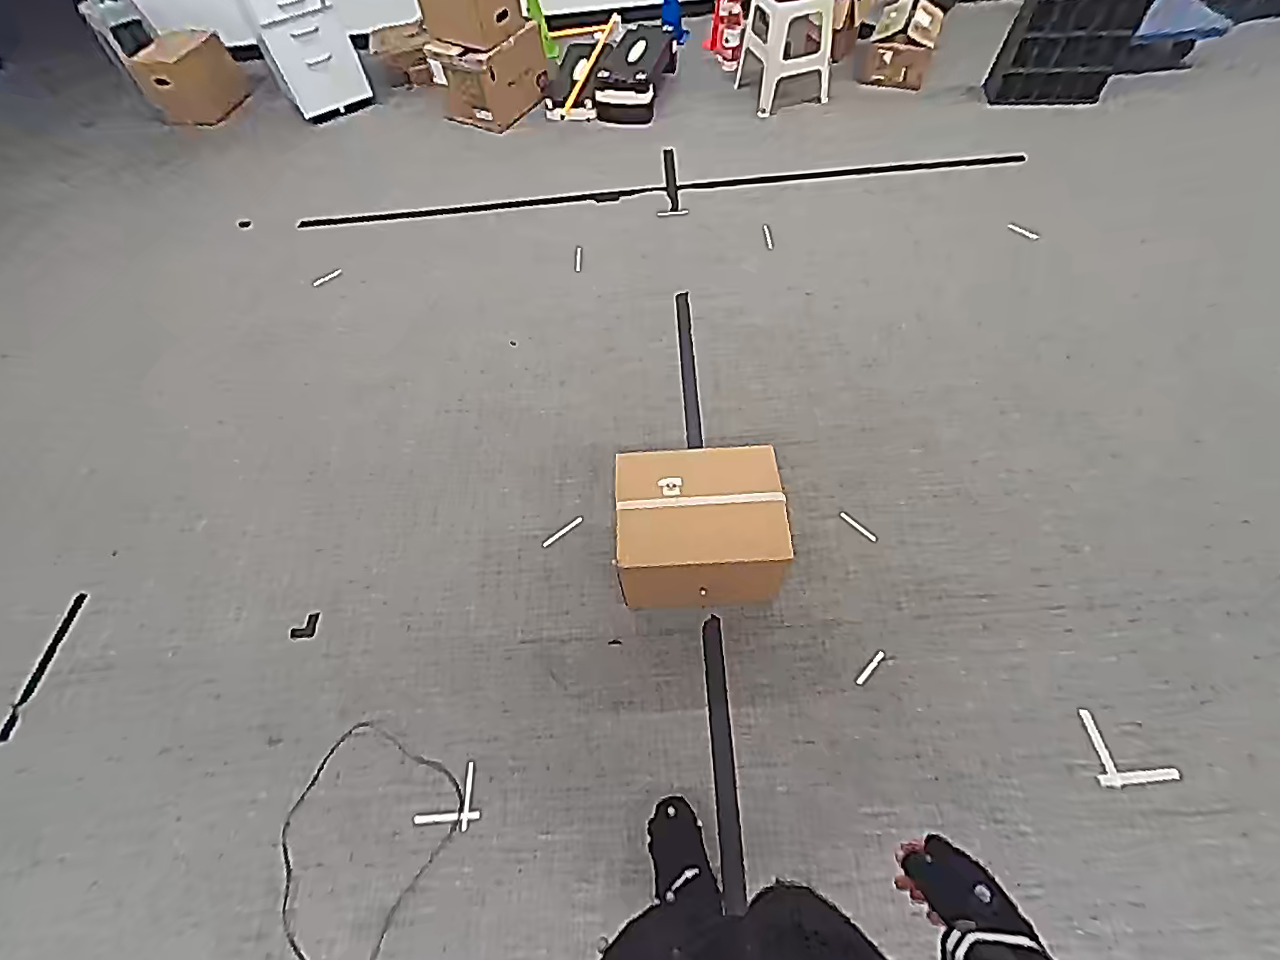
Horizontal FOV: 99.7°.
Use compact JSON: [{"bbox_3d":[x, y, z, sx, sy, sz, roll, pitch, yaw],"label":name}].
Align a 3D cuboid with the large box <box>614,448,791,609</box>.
[{"bbox_3d":[0.151,0.140,1.431,0.408,0.320,0.320,-4,58,3],"label":"large box"}]
